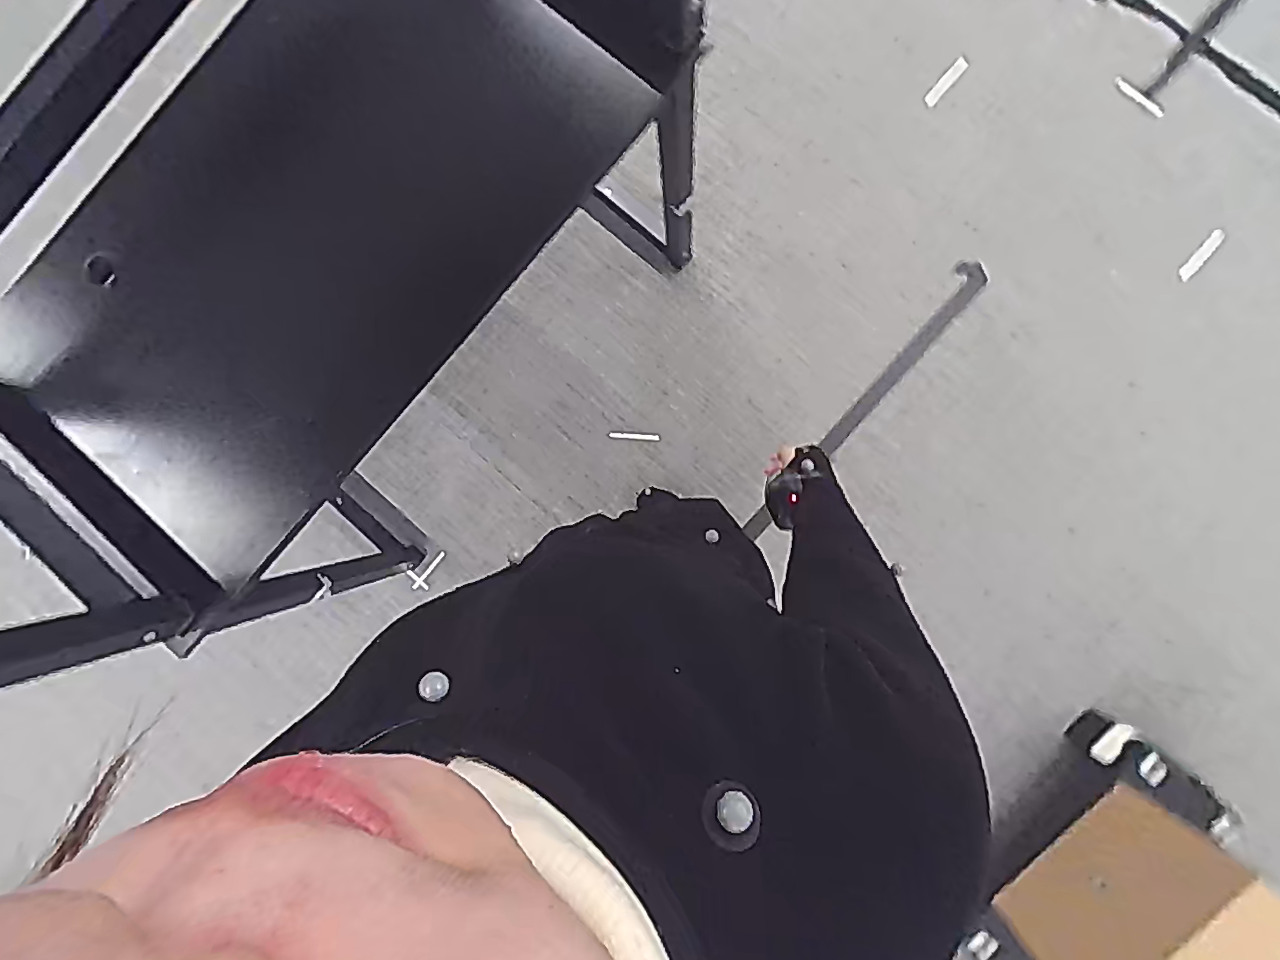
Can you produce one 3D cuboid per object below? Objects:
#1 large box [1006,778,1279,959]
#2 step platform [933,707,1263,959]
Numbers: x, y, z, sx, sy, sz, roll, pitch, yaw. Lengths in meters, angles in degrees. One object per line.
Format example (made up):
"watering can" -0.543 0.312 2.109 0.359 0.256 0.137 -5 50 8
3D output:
"large box" 1.056 0.907 1.065 0.320 0.320 0.408 44 91 3
"step platform" 1.080 0.889 1.303 0.684 0.204 0.286 -44 86 2
